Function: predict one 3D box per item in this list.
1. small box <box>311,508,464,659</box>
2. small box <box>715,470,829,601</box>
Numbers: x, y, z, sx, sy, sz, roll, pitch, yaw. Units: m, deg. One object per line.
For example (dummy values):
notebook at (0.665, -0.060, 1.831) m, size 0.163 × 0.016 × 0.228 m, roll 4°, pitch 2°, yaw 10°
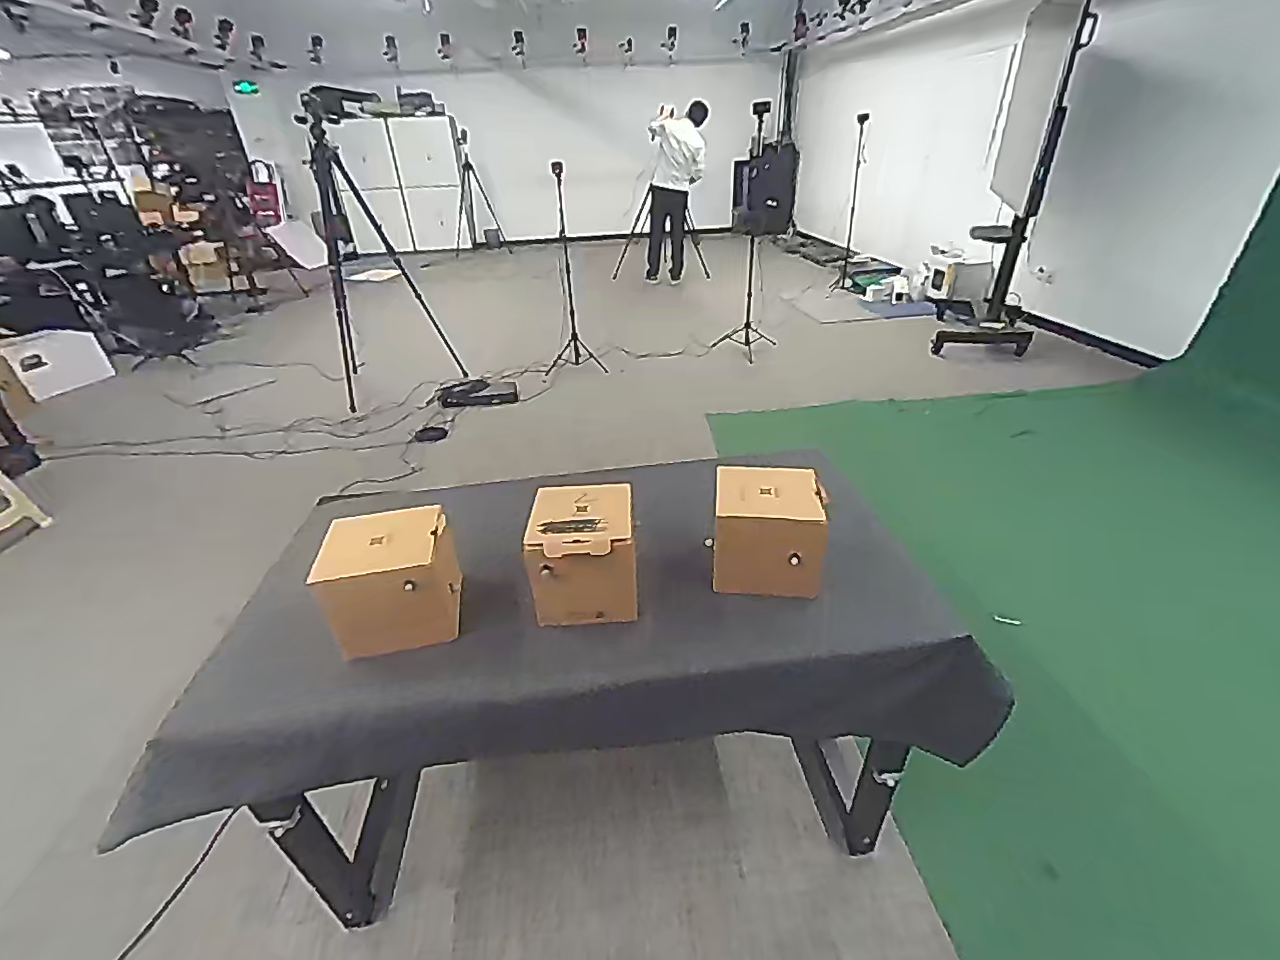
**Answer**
small box at (-0.399, 0.169, 0.890) m, size 0.179 × 0.176 × 0.168 m, roll -8°, pitch 32°, yaw -11°
small box at (0.226, 0.097, 0.964) m, size 0.179 × 0.176 × 0.168 m, roll 1°, pitch 30°, yaw 8°
